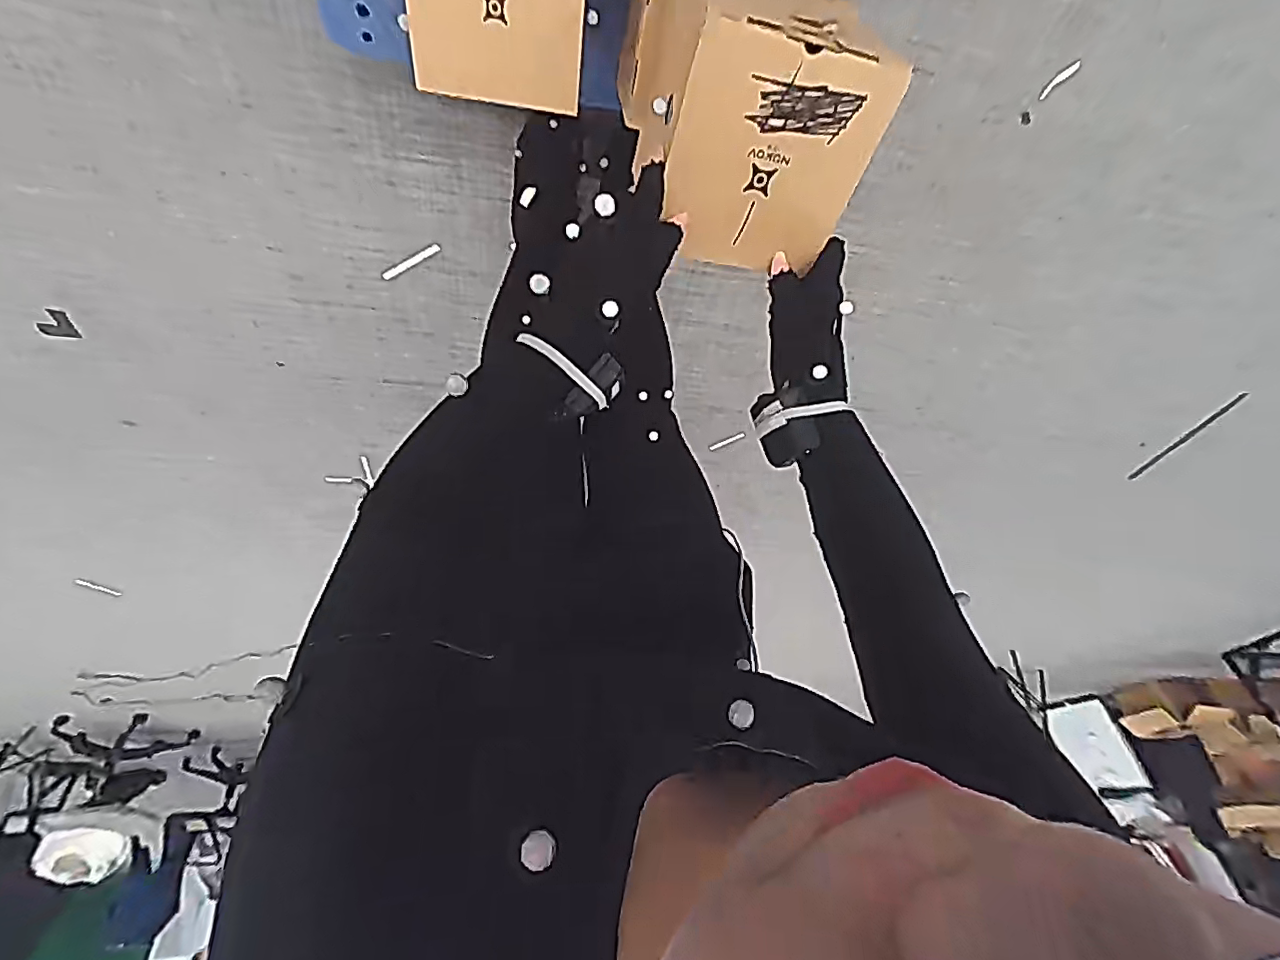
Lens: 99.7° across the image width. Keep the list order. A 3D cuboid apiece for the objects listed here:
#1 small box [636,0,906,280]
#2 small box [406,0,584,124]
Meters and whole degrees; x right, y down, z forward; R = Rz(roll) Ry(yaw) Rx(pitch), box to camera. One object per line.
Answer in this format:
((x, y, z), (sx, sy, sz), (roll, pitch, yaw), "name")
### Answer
((0.095, -0.319, 0.496), (0.168, 0.176, 0.179), (5, 142, -13), "small box")
((-0.141, -0.507, 0.557), (0.168, 0.176, 0.179), (2, 140, -11), "small box")
